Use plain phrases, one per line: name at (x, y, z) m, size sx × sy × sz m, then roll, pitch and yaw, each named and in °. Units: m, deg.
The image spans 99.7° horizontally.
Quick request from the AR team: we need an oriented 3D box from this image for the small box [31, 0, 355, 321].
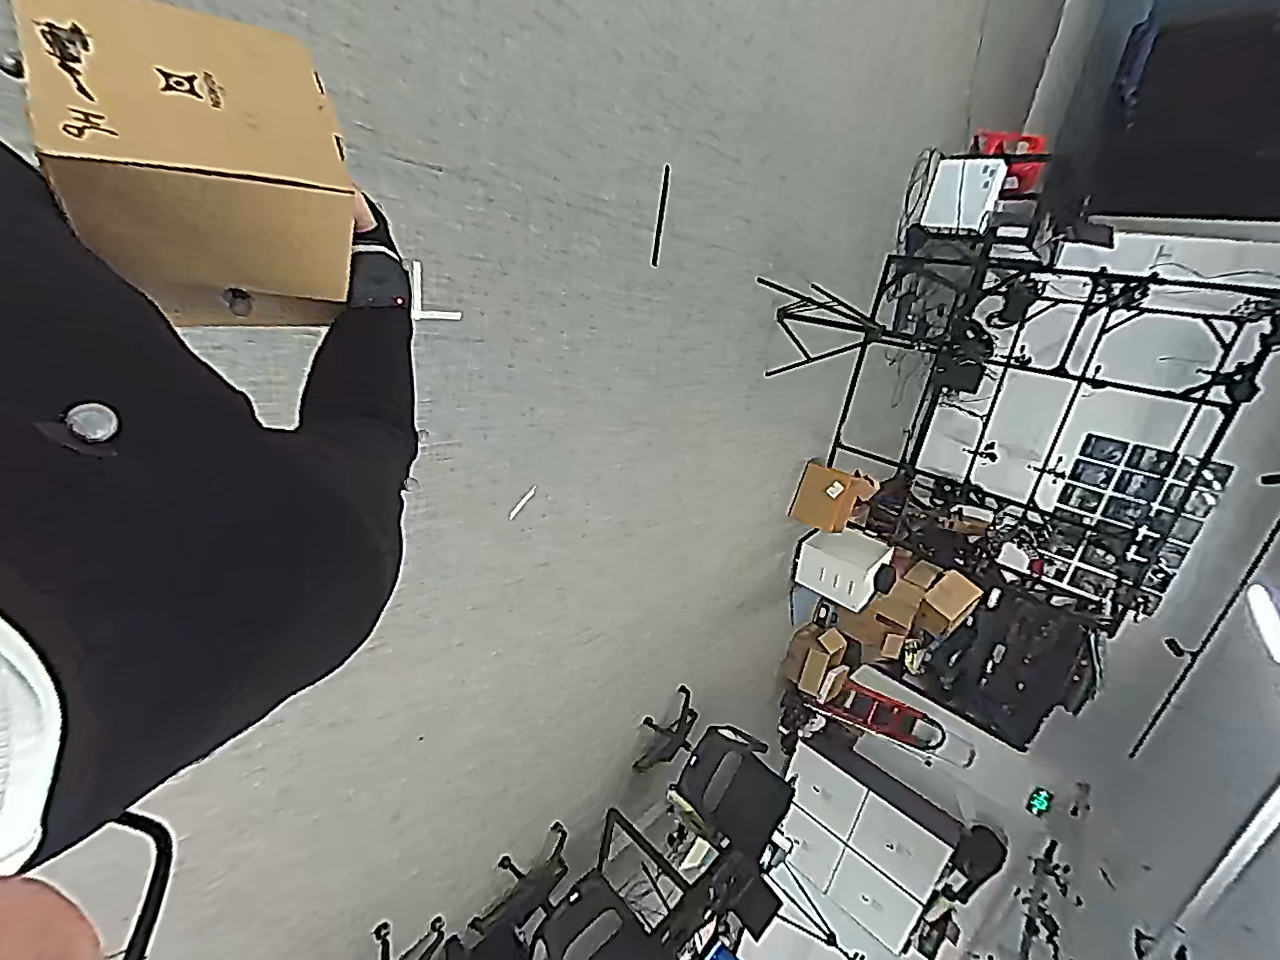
small box at (-0.369, -0.256, 0.470) m, size 0.179 × 0.168 × 0.176 m, roll -13°, pitch 162°, yaw -36°
